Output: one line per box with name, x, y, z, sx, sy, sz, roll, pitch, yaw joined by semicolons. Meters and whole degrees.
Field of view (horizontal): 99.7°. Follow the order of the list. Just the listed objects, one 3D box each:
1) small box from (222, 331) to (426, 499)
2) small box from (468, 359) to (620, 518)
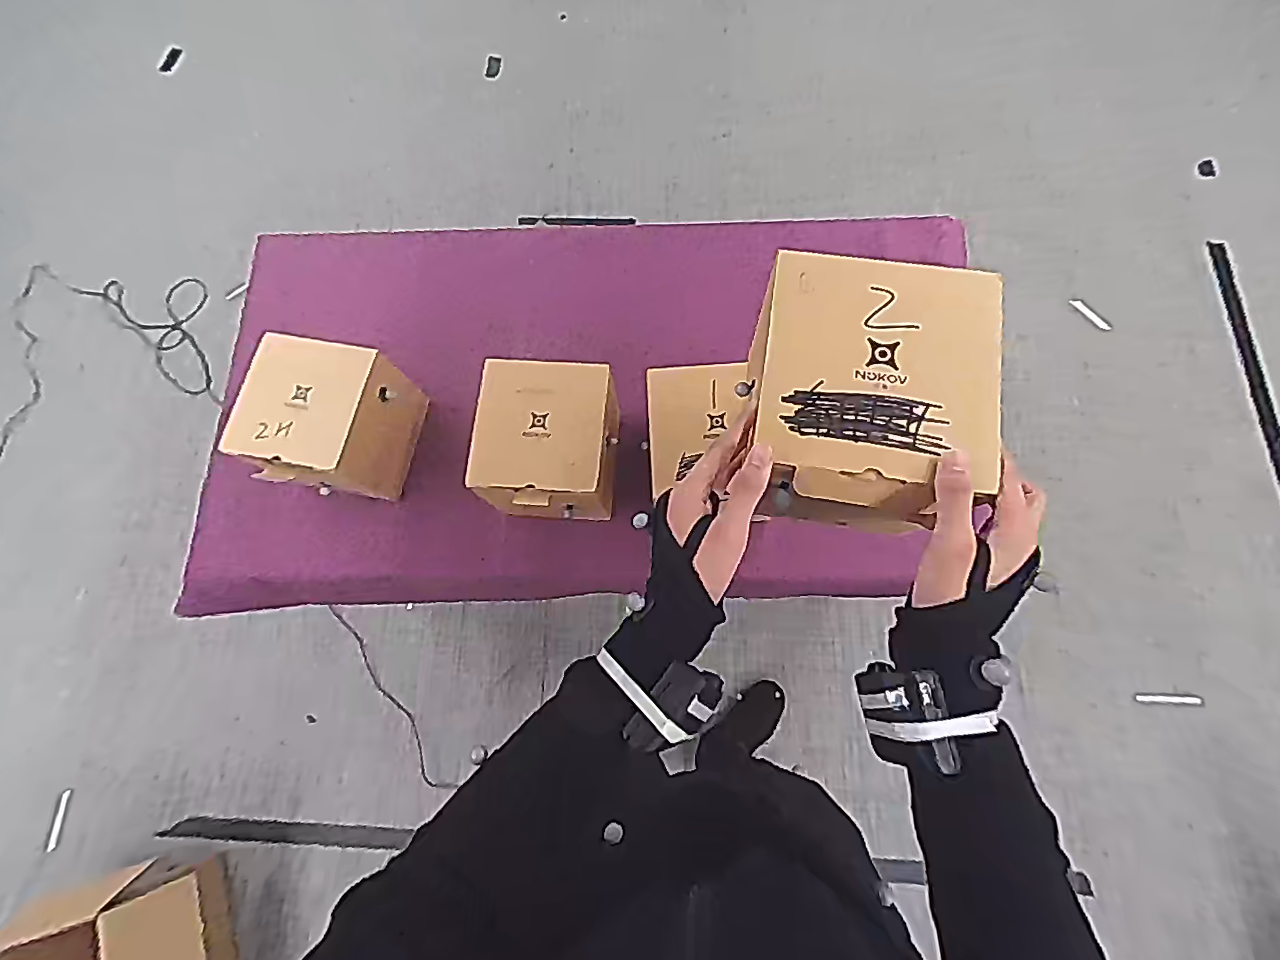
small box;-0.435;-0.085;0.780;0.168;0.176;0.179;10;76;6
small box;-0.120;-0.049;0.755;0.168;0.176;0.179;4;75;4
